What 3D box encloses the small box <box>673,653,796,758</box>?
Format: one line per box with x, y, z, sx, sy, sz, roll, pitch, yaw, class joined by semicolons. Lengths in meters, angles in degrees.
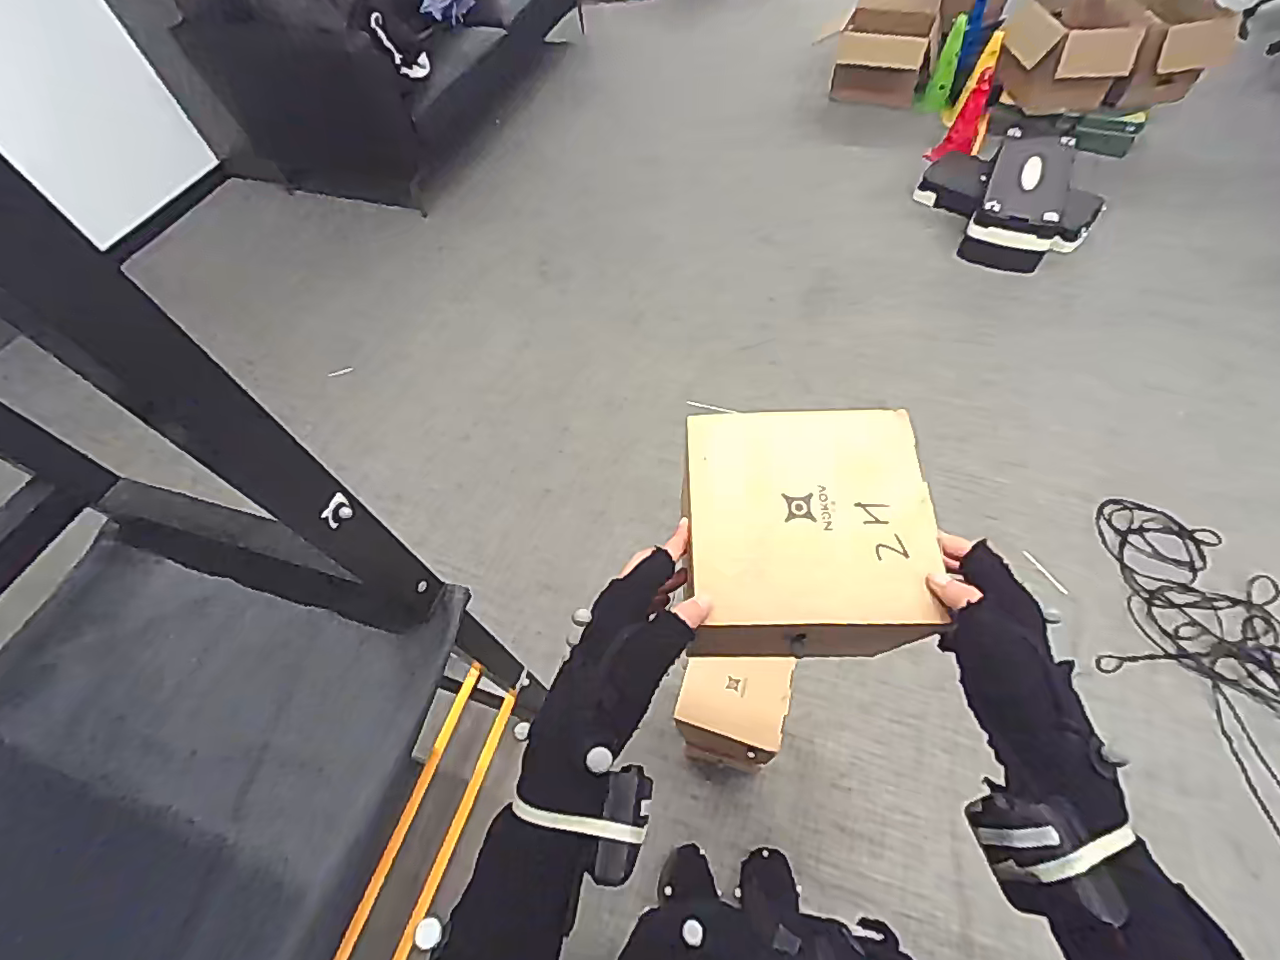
0.167;0.383;0.968;0.179;0.176;0.168;14;61;14;small box

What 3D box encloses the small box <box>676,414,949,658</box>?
0.120;0.058;0.460;0.179;0.176;0.168;-1;66;2;small box
